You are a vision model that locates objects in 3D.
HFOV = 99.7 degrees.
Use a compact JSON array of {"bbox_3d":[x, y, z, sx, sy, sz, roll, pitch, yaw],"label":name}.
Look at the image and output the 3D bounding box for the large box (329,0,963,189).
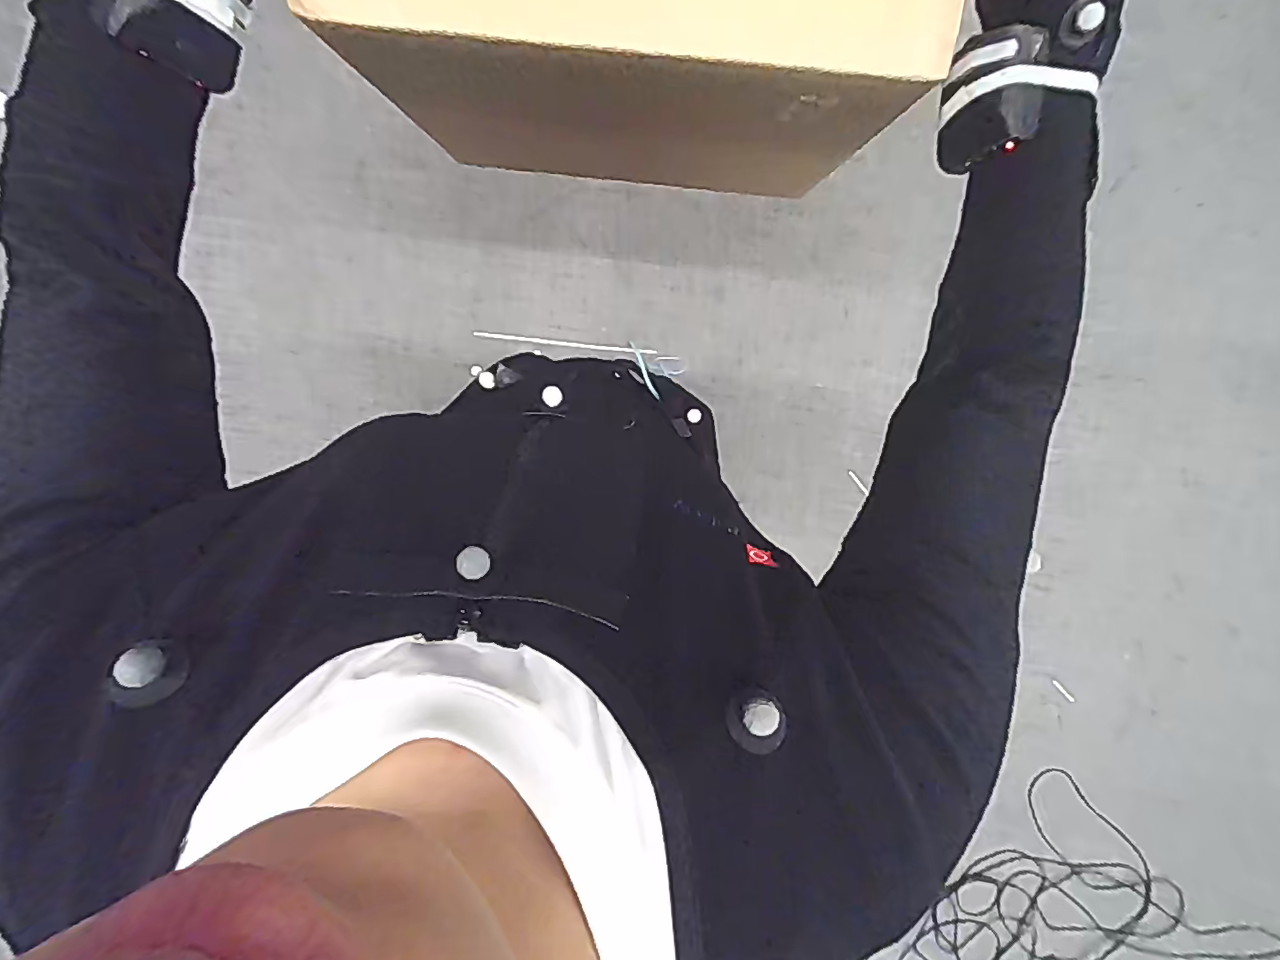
[{"bbox_3d":[0.010,-0.460,0.447,0.408,0.320,0.320,4,106,-2],"label":"large box"}]
